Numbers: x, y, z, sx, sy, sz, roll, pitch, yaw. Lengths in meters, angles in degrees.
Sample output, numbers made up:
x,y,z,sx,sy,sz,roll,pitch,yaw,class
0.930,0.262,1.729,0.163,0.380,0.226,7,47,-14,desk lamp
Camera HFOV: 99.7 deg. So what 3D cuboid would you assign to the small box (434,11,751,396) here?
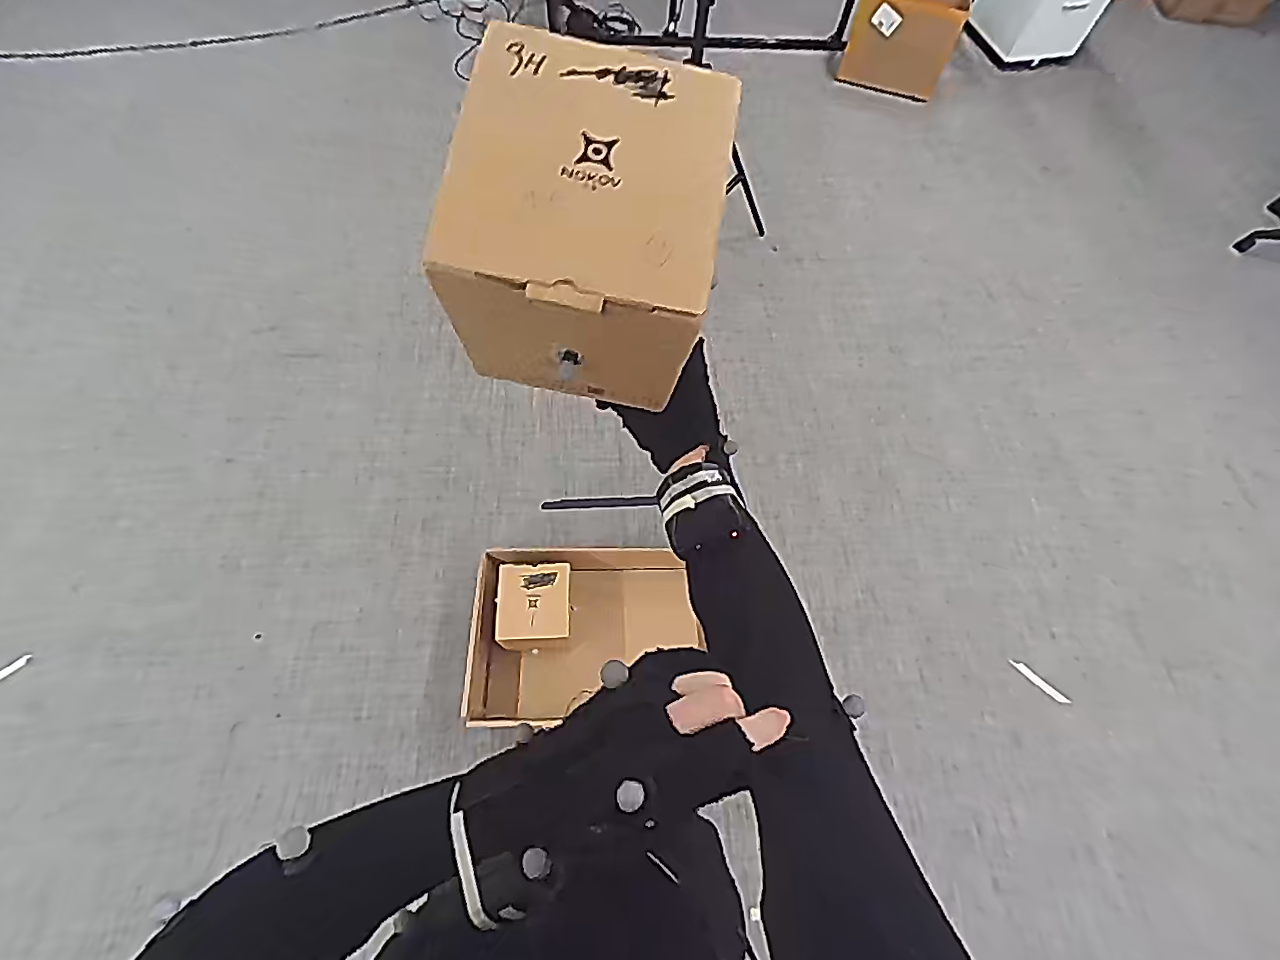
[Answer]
x,y,z,sx,sy,sz,roll,pitch,yaw,class
-0.030,-0.179,0.402,0.168,0.176,0.179,11,78,-4,small box
